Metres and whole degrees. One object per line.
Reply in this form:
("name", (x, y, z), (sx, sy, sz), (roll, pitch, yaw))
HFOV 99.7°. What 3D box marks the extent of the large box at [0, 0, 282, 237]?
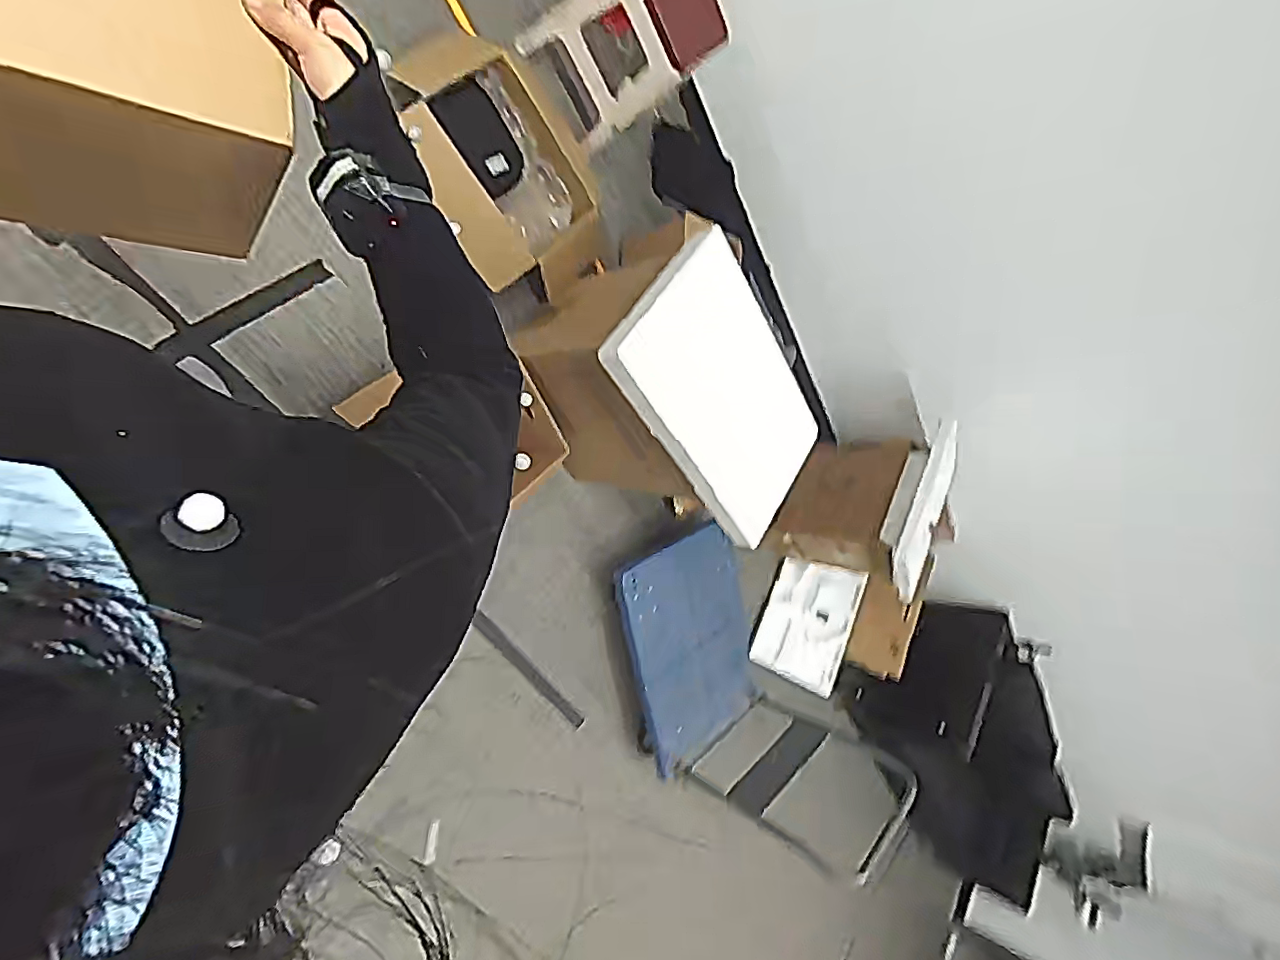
("large box", (-0.547, -0.413, 0.405), (0.408, 0.320, 0.320), (-8, 96, -42))
